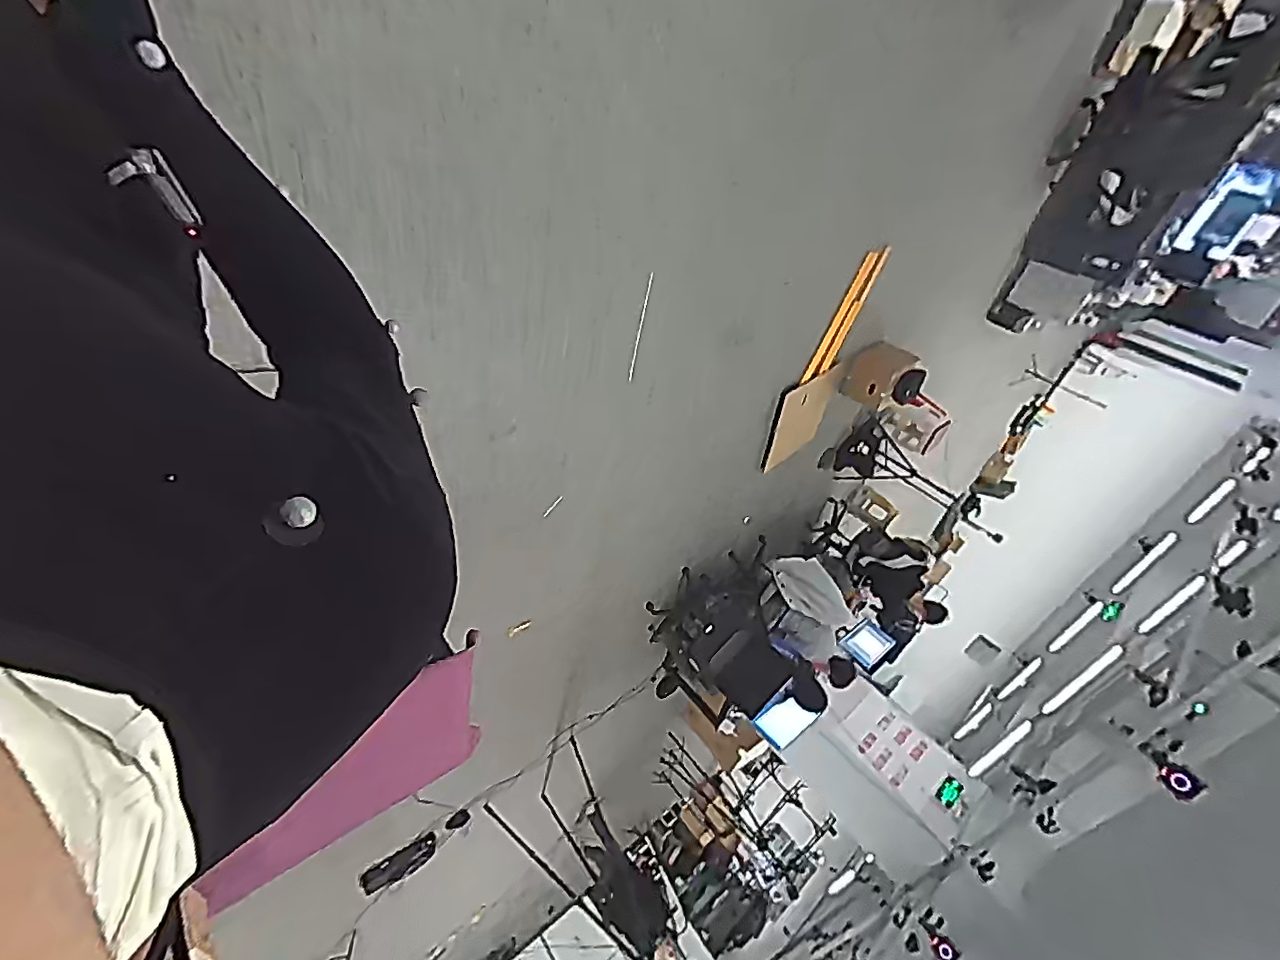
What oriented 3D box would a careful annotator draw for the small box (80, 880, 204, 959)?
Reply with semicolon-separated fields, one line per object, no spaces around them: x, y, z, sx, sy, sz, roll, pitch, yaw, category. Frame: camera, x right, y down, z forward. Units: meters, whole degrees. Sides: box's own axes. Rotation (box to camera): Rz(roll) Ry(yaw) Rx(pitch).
-1.133;1.068;1.237;0.168;0.176;0.179;-22;139;-38;small box
